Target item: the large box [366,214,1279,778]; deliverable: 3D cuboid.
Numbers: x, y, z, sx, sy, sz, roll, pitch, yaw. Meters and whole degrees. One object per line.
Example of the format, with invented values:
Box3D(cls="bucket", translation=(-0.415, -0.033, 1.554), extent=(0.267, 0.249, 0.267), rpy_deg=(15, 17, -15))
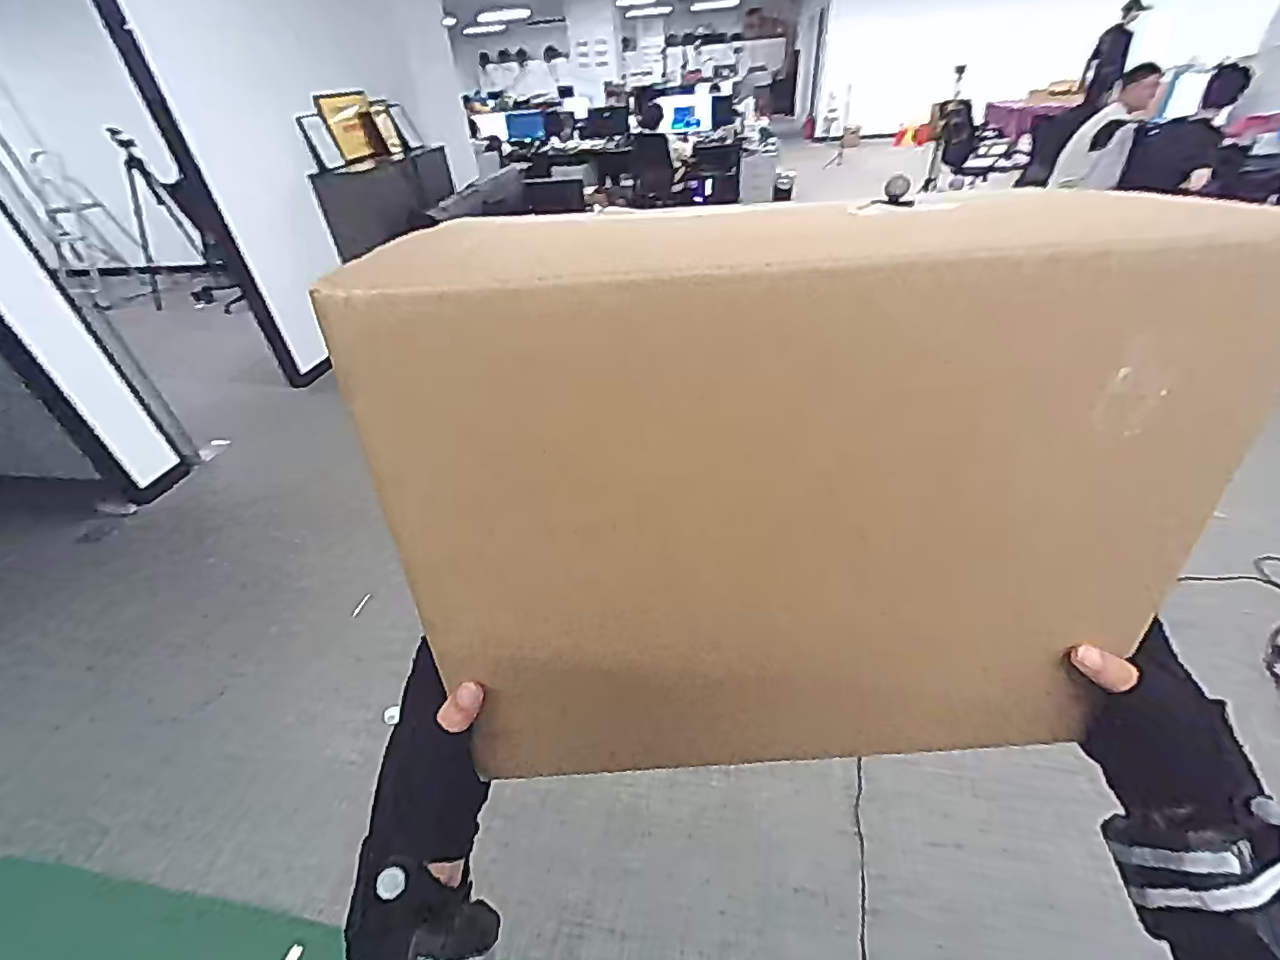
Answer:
Box3D(cls="large box", translation=(0.084, -0.018, 0.413), extent=(0.408, 0.320, 0.320), rpy_deg=(-3, 30, -2))
